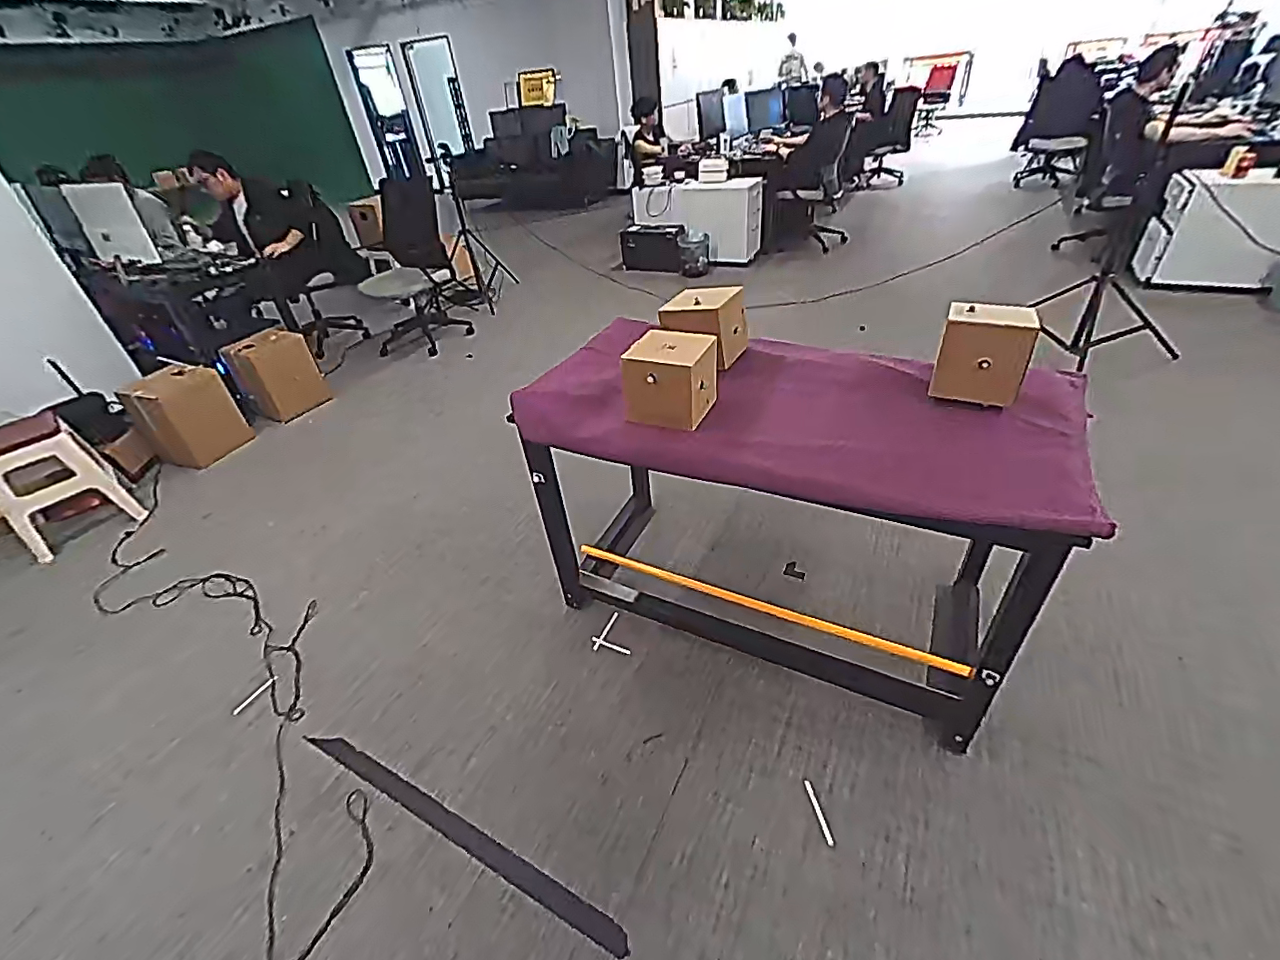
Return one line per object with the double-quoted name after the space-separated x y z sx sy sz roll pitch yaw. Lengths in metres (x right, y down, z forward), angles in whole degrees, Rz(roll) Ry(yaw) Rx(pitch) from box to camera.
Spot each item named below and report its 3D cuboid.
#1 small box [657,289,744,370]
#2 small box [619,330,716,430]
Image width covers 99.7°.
0.172 -0.408 1.460 0.179 0.168 0.176 9 38 31 "small box"
0.071 -0.235 1.271 0.179 0.176 0.168 12 41 23 "small box"
